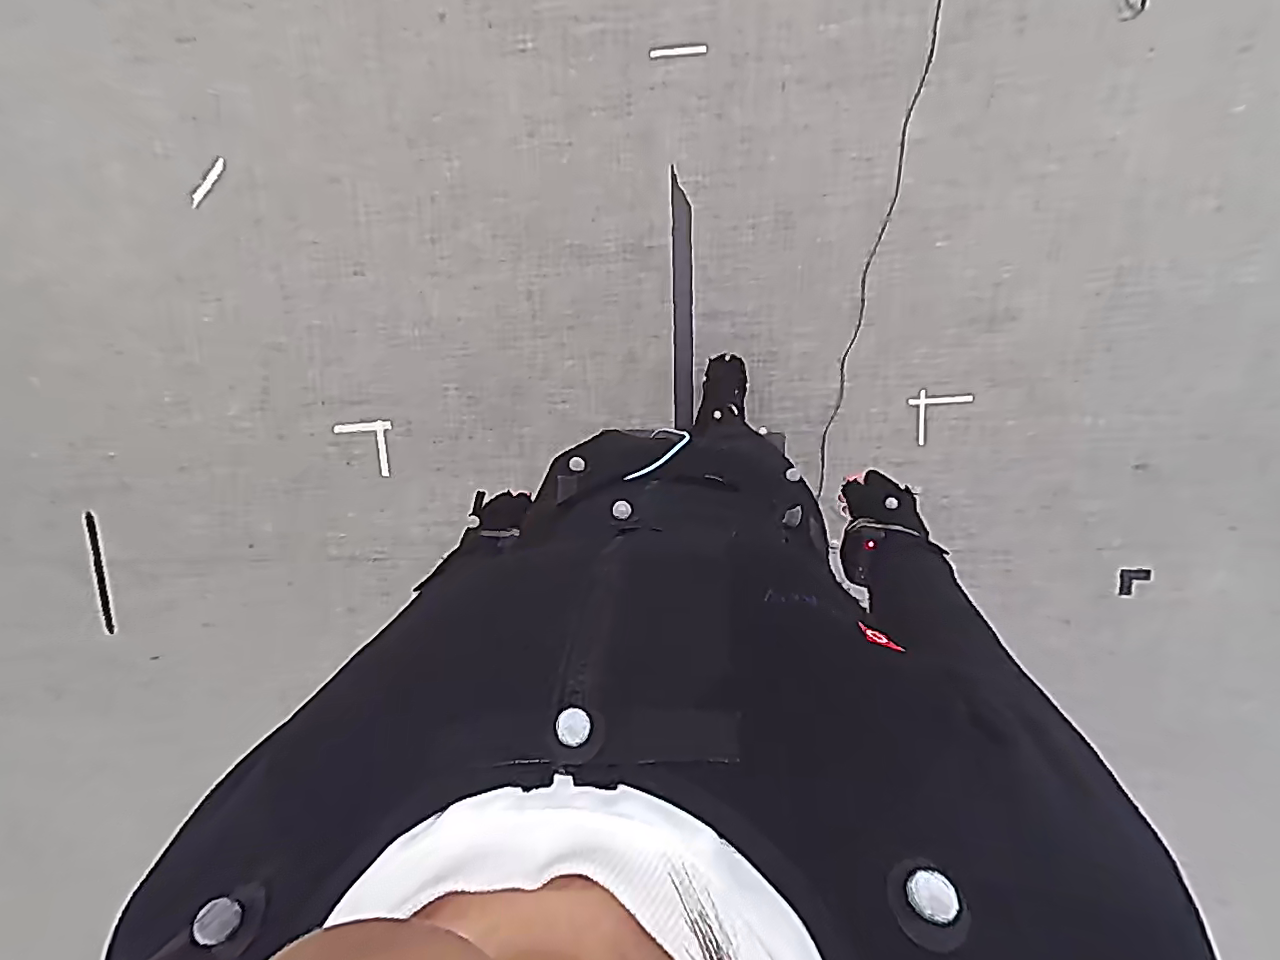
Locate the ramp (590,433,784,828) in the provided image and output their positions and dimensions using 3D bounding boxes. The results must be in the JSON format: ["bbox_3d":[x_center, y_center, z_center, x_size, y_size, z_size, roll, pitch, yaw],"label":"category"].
[{"bbox_3d":[0.121,0.372,1.413,0.509,0.206,0.991,0,97,8],"label":"ramp"}]
